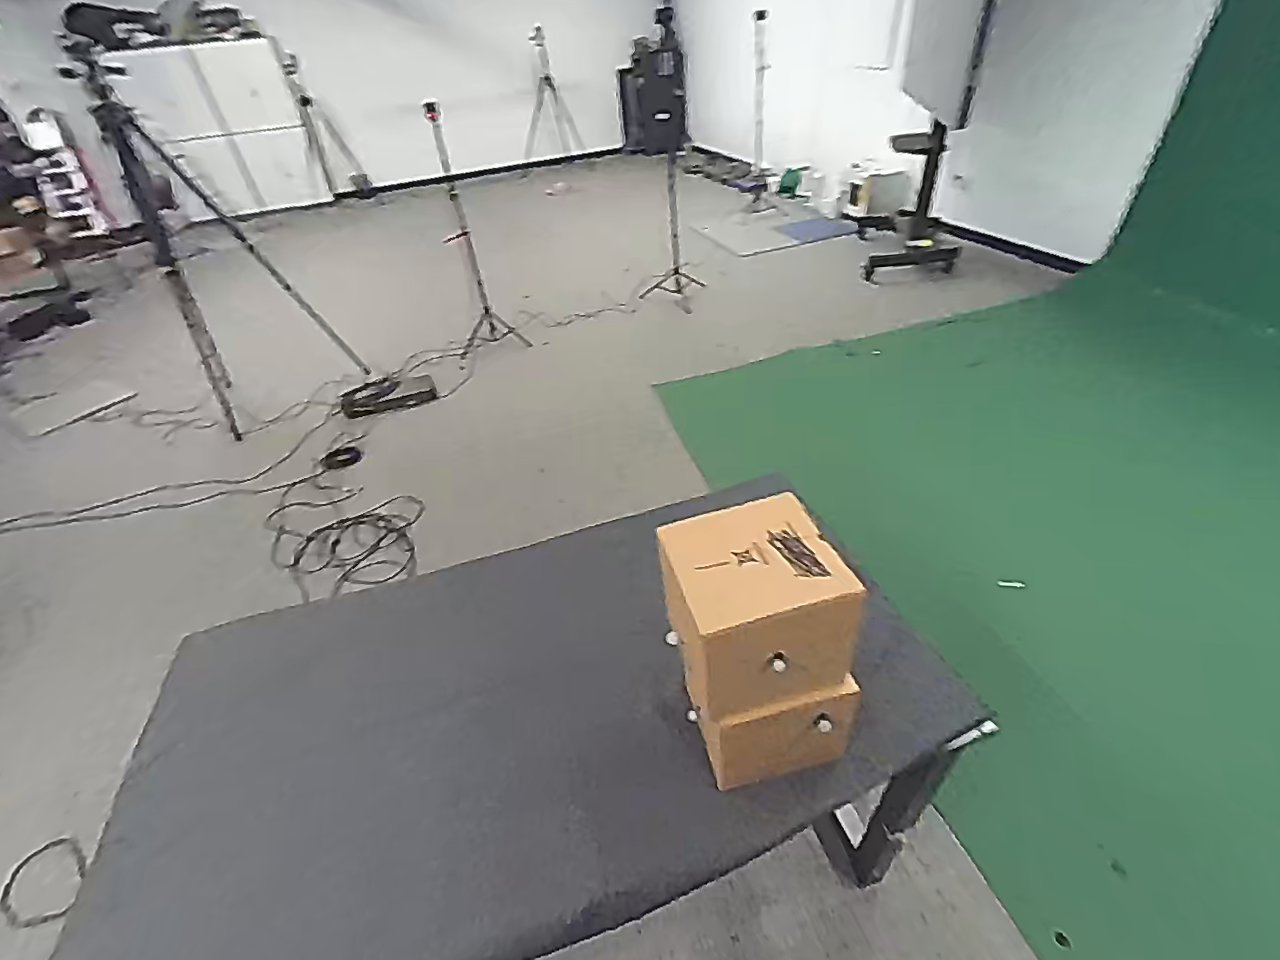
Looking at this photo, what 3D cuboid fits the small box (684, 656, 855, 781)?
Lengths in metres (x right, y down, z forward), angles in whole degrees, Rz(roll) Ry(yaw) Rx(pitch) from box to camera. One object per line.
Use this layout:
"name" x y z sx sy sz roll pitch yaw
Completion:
"small box" 0.158 0.270 0.727 0.179 0.176 0.168 -13 38 -6

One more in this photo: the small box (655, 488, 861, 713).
"small box" 0.125 0.139 0.632 0.179 0.176 0.168 -14 39 -7
